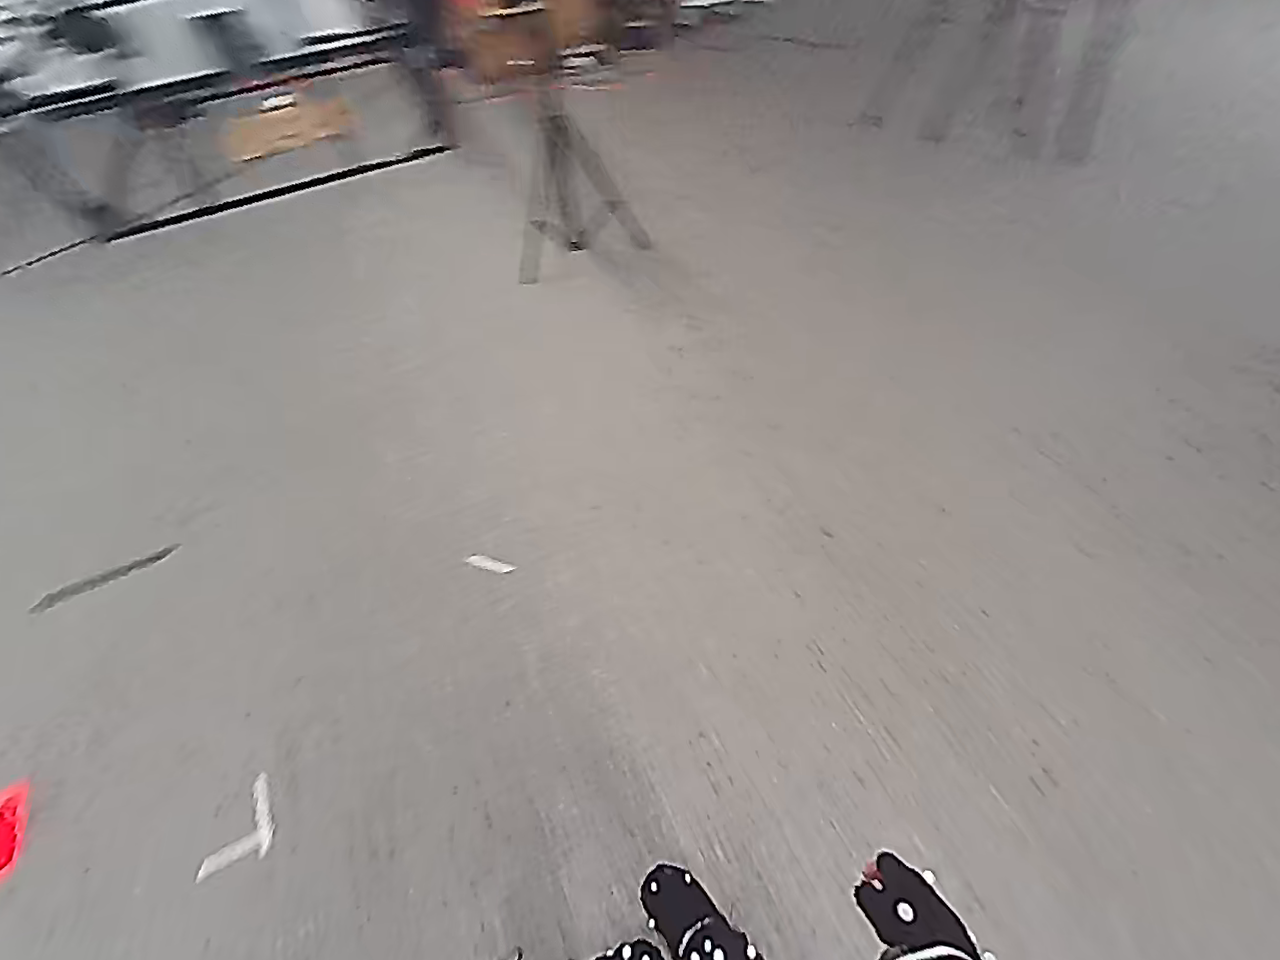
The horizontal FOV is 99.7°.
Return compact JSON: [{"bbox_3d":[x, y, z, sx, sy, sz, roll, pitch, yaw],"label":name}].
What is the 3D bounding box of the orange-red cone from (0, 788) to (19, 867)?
[{"bbox_3d":[-1.607,0.769,1.139,0.199,0.360,0.198,-28,56,-14],"label":"orange-red cone"}]
